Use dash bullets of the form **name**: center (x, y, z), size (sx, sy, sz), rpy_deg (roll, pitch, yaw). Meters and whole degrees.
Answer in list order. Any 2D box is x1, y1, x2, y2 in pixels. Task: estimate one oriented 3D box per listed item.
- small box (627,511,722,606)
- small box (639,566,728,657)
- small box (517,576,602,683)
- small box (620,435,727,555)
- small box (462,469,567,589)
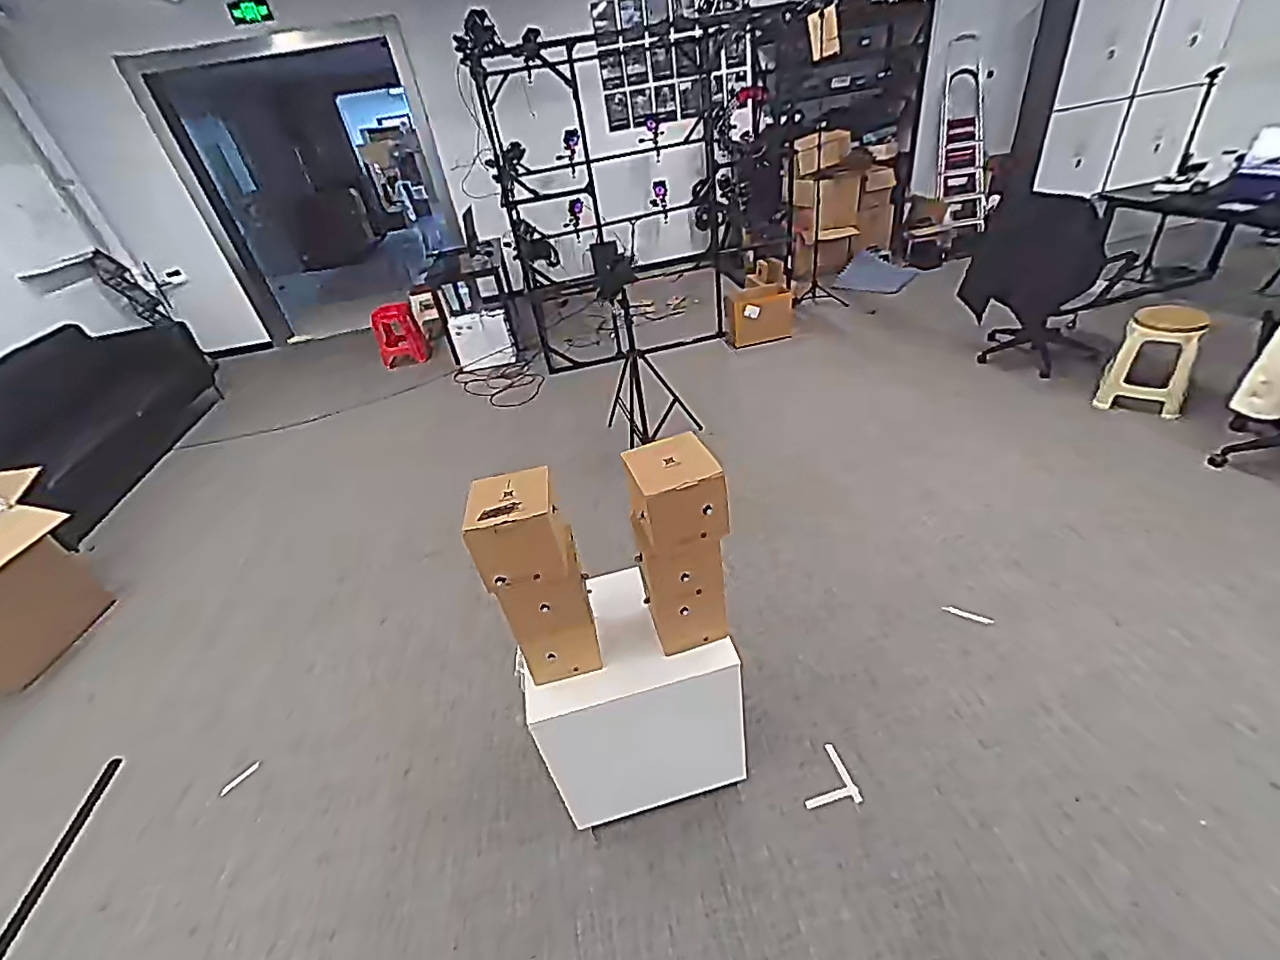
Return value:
- **small box**: center (0.080, 0.164, 1.229), size (0.168, 0.176, 0.179), rpy_deg (-15, 35, -6)
- **small box**: center (0.105, 0.297, 1.324), size (0.168, 0.176, 0.179), rpy_deg (-16, 35, -6)
- **small box**: center (-0.195, 0.367, 1.306), size (0.168, 0.176, 0.179), rpy_deg (-13, 35, -5)
- **small box**: center (0.072, 0.036, 1.127), size (0.168, 0.176, 0.179), rpy_deg (-18, 35, -11)
- **small box**: center (-0.249, 0.105, 1.113), size (0.168, 0.176, 0.179), rpy_deg (-12, 34, -2)
